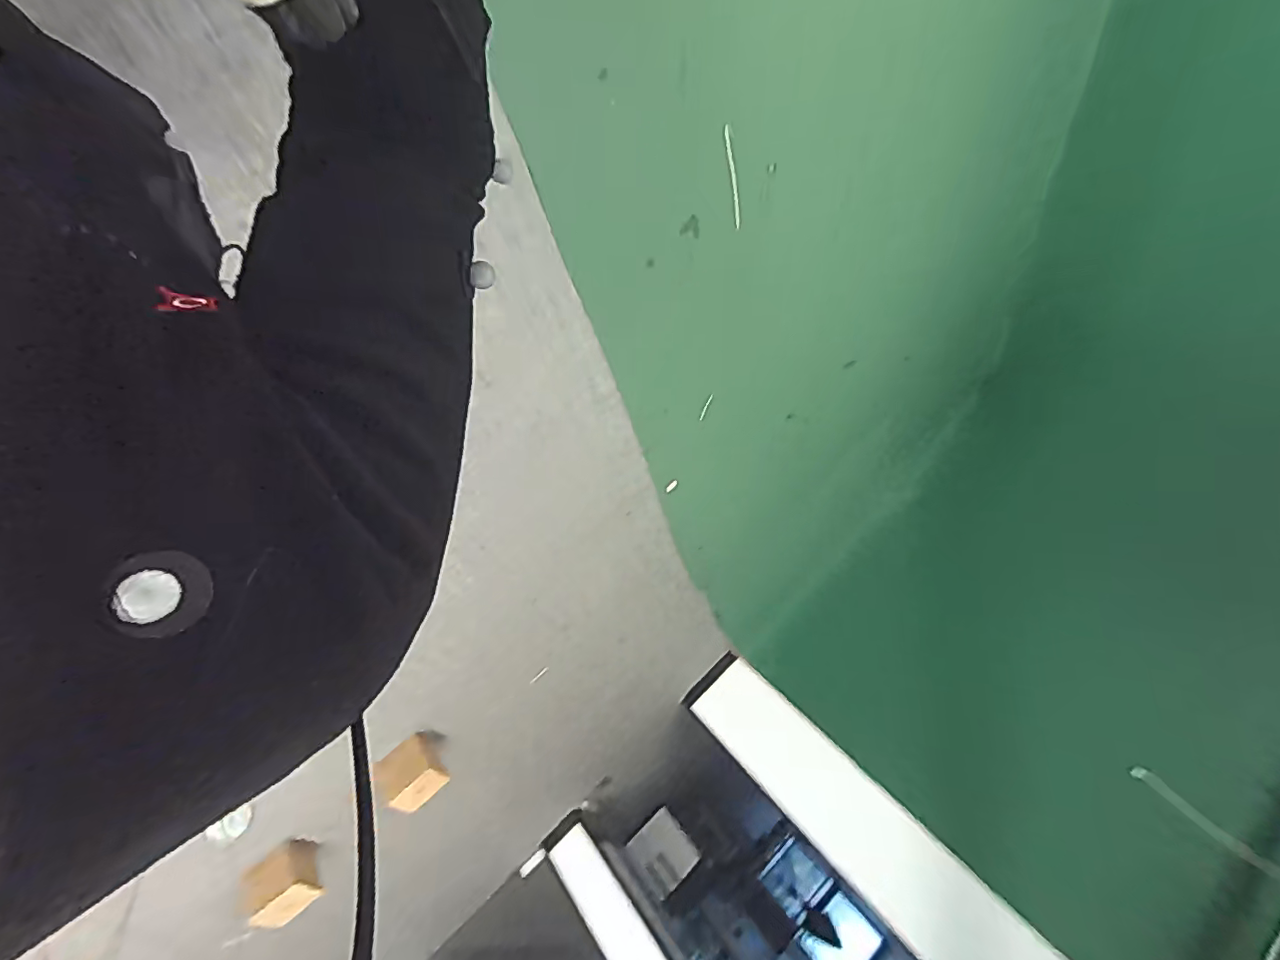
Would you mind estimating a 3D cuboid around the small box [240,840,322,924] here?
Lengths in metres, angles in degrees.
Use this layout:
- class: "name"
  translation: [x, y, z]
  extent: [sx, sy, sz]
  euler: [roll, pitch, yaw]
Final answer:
- class: "small box"
  translation: [-1.273, 1.419, 1.914]
  extent: [0.168, 0.176, 0.179]
  euler: [-35, 140, -18]

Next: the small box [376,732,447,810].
- class: "small box"
  translation: [-0.878, 1.109, 2.064]
  extent: [0.179, 0.176, 0.168]
  euler: [-39, 140, -17]
